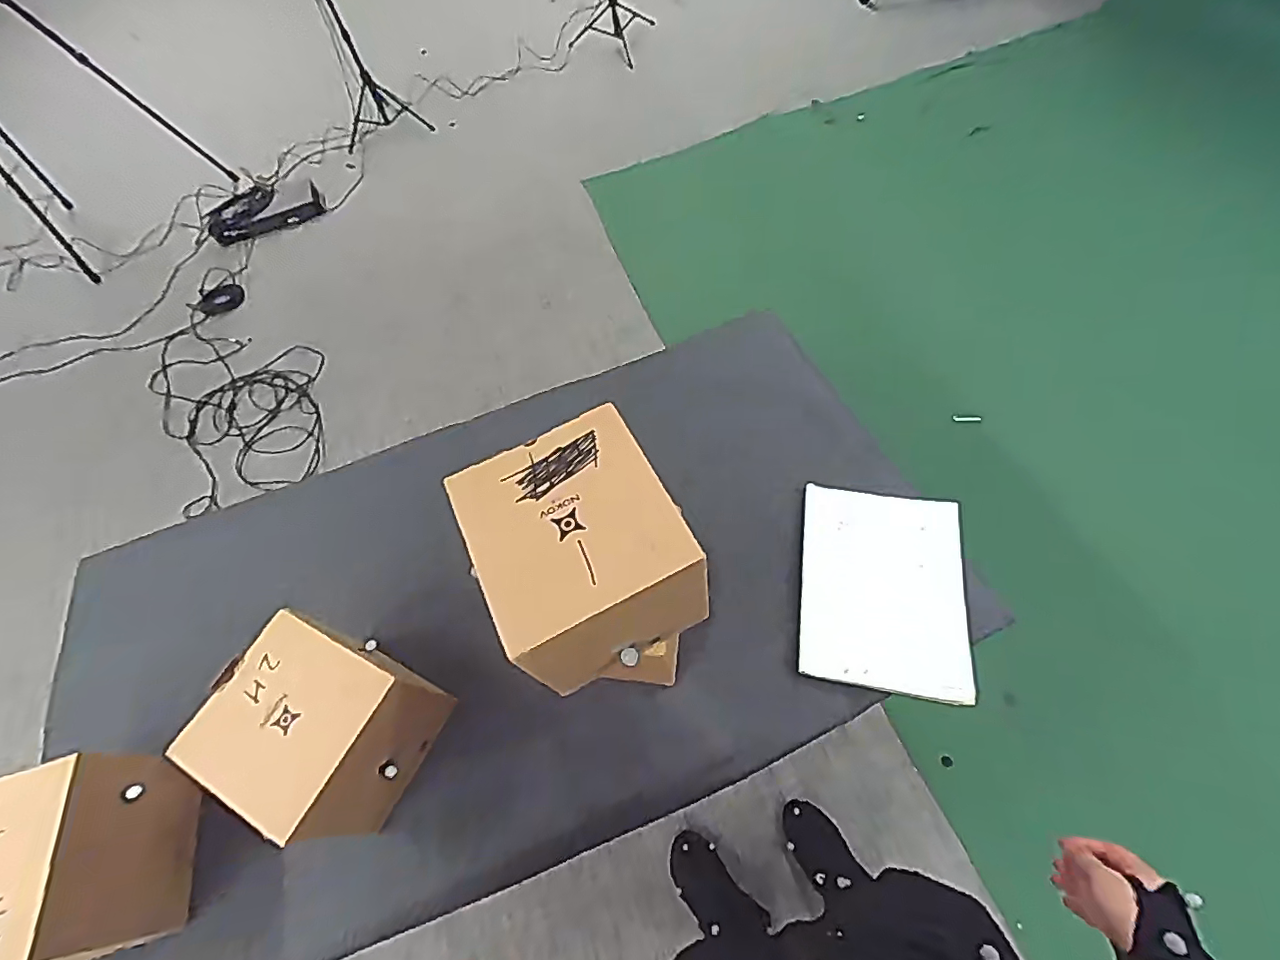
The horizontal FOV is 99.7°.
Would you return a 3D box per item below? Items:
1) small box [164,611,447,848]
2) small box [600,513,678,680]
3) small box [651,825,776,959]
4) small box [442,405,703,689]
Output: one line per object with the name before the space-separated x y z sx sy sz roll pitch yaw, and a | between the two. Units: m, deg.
small box | -0.356 0.277 0.615 0.179 0.176 0.168 22 65 18
small box | -0.043 0.139 0.655 0.179 0.176 0.168 3 61 10
small box | 0.151 0.821 1.068 0.176 0.168 0.179 32 42 -10
small box | -0.054 0.069 0.505 0.168 0.176 0.179 -27 61 -7
